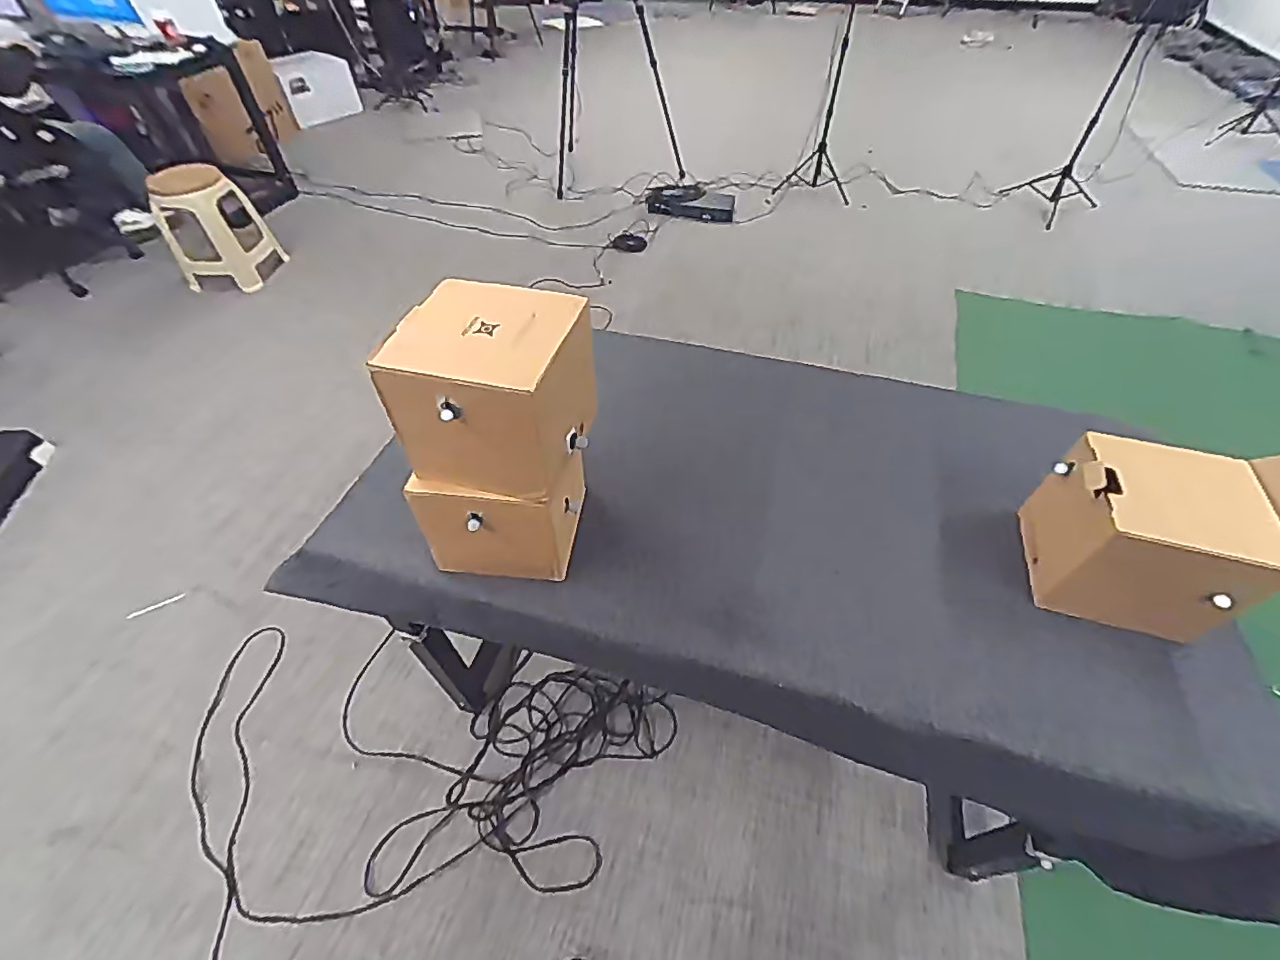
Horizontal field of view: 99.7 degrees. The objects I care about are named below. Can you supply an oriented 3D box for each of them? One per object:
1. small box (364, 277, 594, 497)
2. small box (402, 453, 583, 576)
[{"bbox_3d":[-0.160,-0.101,0.607,0.179,0.176,0.168,11,50,9],"label":"small box"},{"bbox_3d":[-0.177,0.013,0.723,0.179,0.176,0.168,5,48,4],"label":"small box"}]
